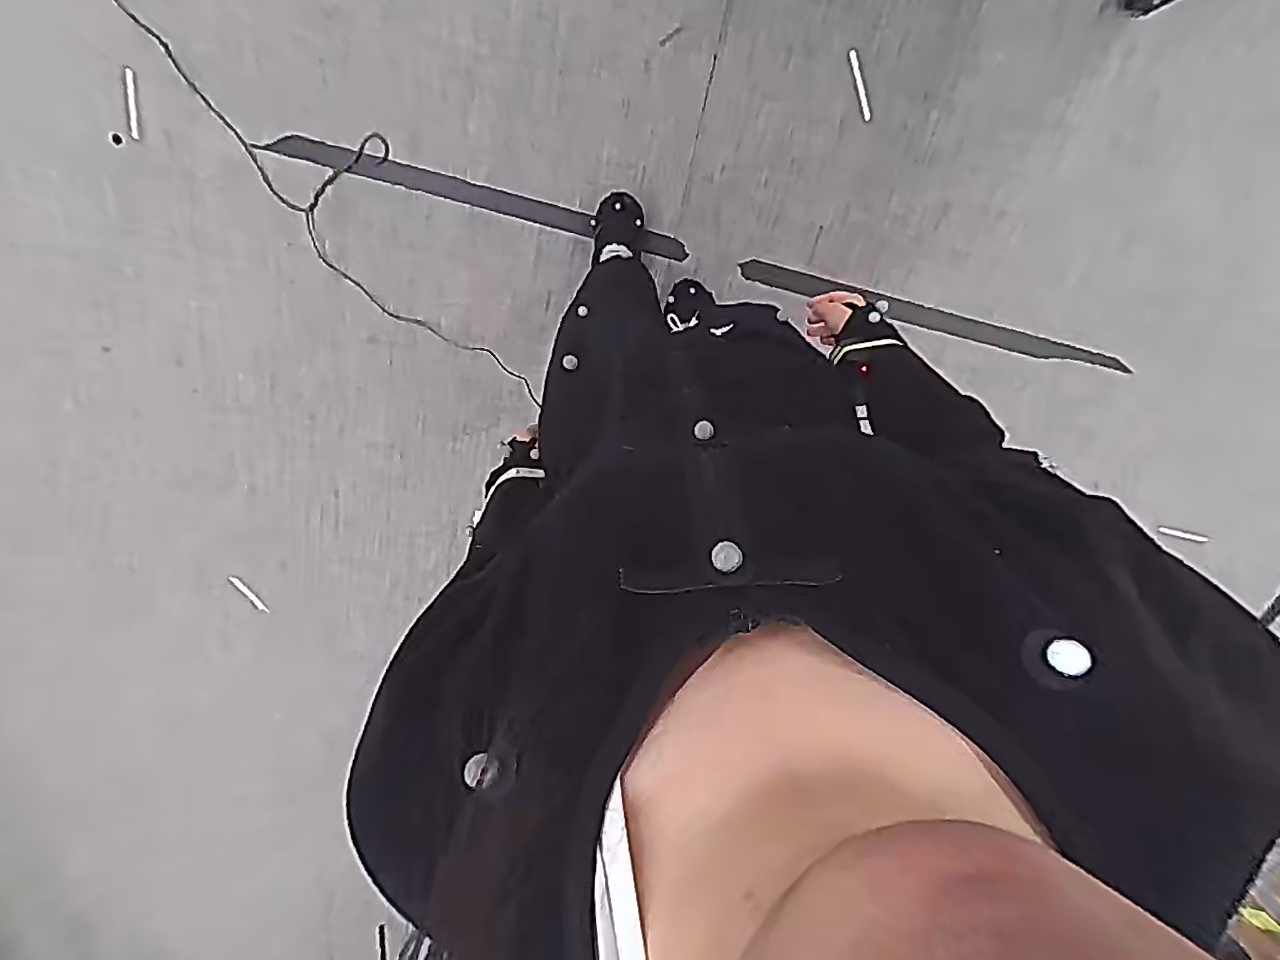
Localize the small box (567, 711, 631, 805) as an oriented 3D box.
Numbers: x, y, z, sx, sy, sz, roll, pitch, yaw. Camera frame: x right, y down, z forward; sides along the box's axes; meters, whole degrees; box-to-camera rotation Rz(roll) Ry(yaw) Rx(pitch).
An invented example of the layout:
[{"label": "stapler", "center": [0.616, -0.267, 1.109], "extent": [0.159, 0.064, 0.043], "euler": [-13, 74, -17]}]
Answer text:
[{"label": "small box", "center": [-0.120, 0.833, 1.626], "extent": [0.168, 0.176, 0.179], "euler": [8, 113, -2]}]
